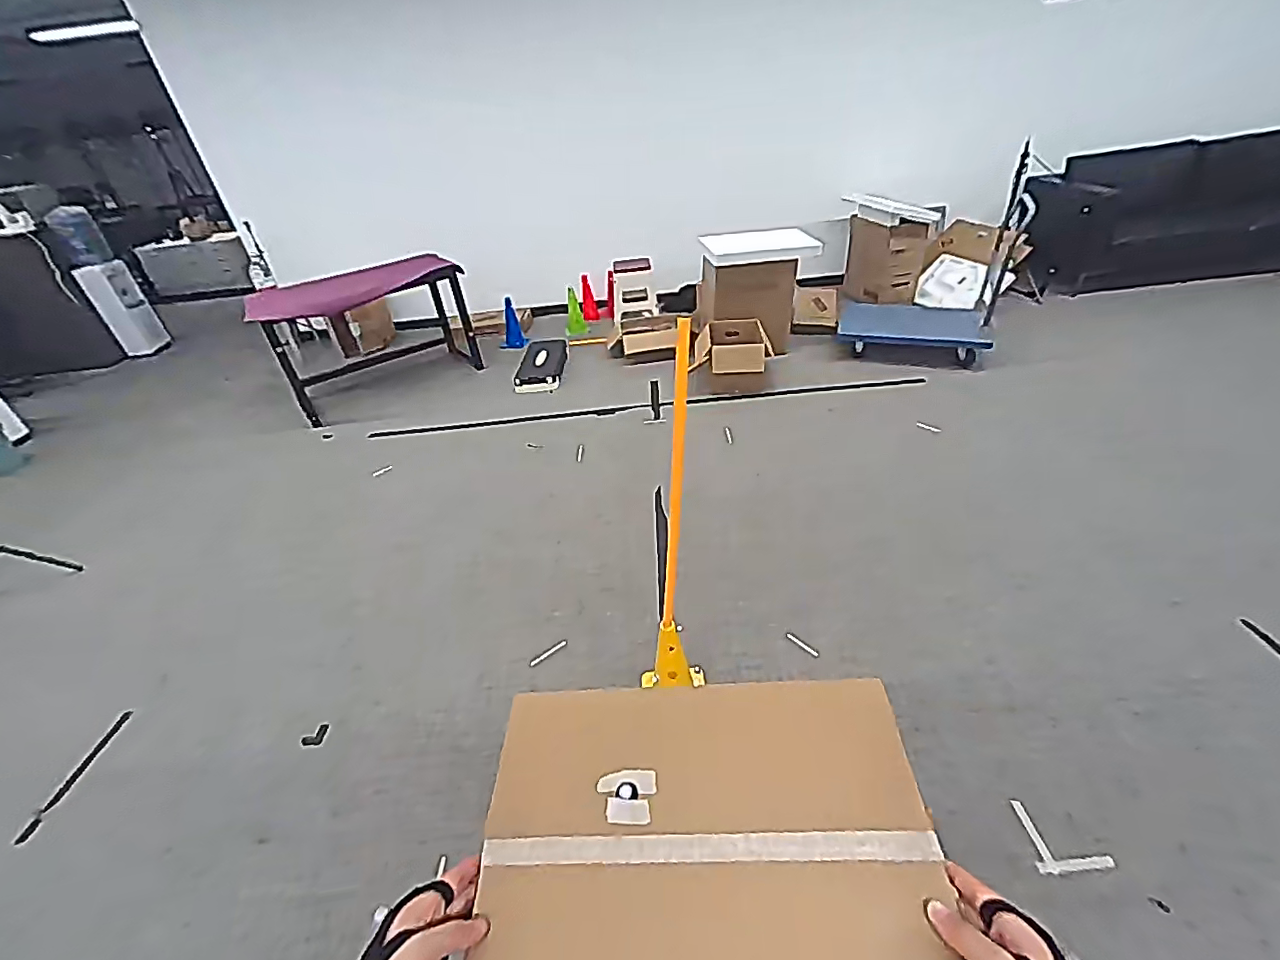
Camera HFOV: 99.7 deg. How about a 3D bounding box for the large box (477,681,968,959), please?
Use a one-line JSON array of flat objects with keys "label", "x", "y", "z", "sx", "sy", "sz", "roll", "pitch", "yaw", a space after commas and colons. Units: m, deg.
[{"label": "large box", "x": 0.081, "y": 0.451, "z": 0.590, "sx": 0.408, "sy": 0.320, "sz": 0.320, "roll": -6, "pitch": 40, "yaw": 6}]
